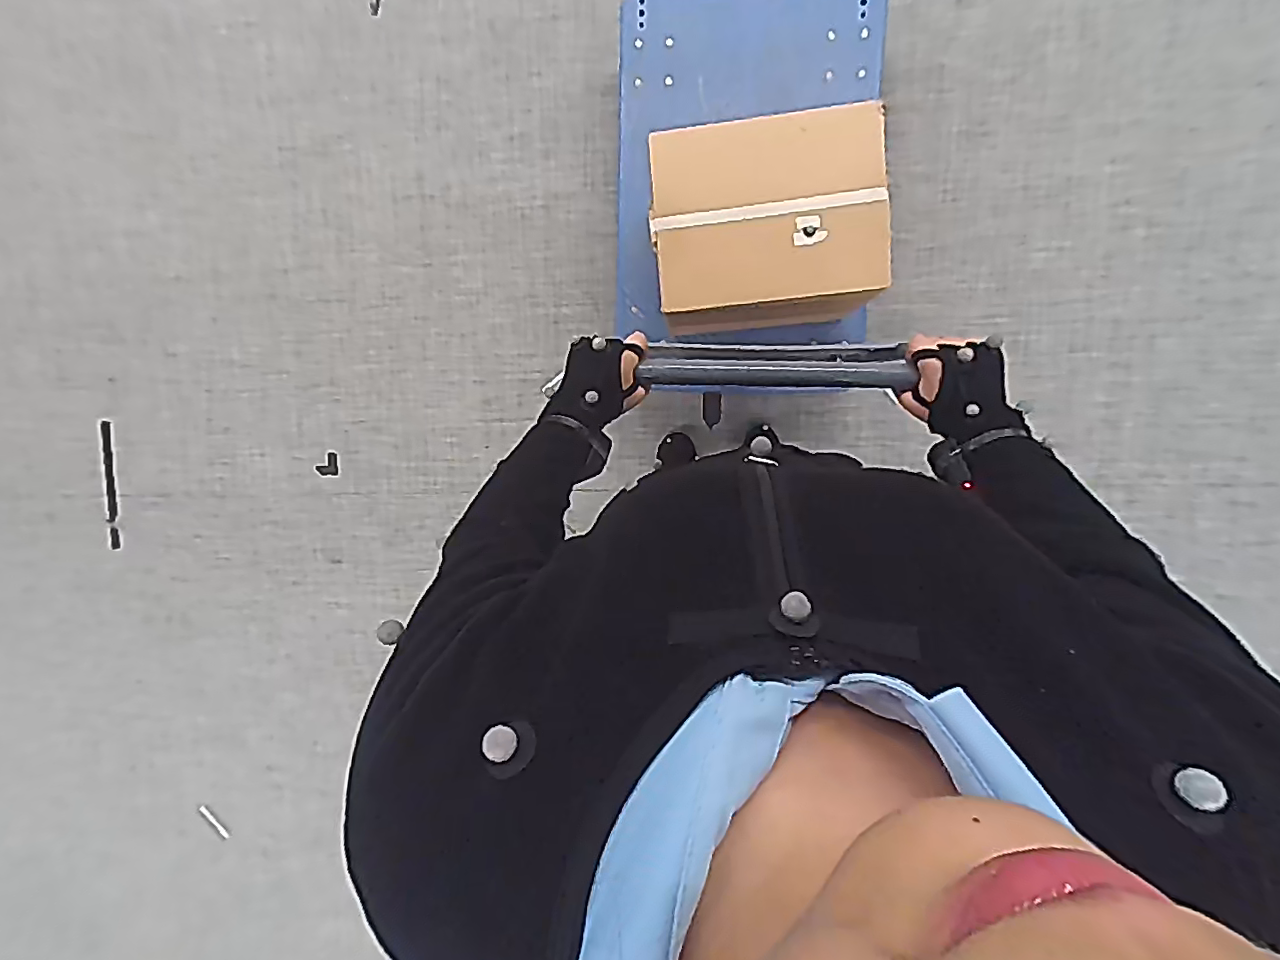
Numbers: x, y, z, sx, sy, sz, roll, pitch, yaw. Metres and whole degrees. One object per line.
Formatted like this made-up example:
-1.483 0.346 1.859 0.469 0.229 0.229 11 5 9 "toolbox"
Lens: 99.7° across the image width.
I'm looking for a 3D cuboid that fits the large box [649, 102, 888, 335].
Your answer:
0.240 -0.499 1.113 0.408 0.320 0.320 -5 97 5 "large box"
